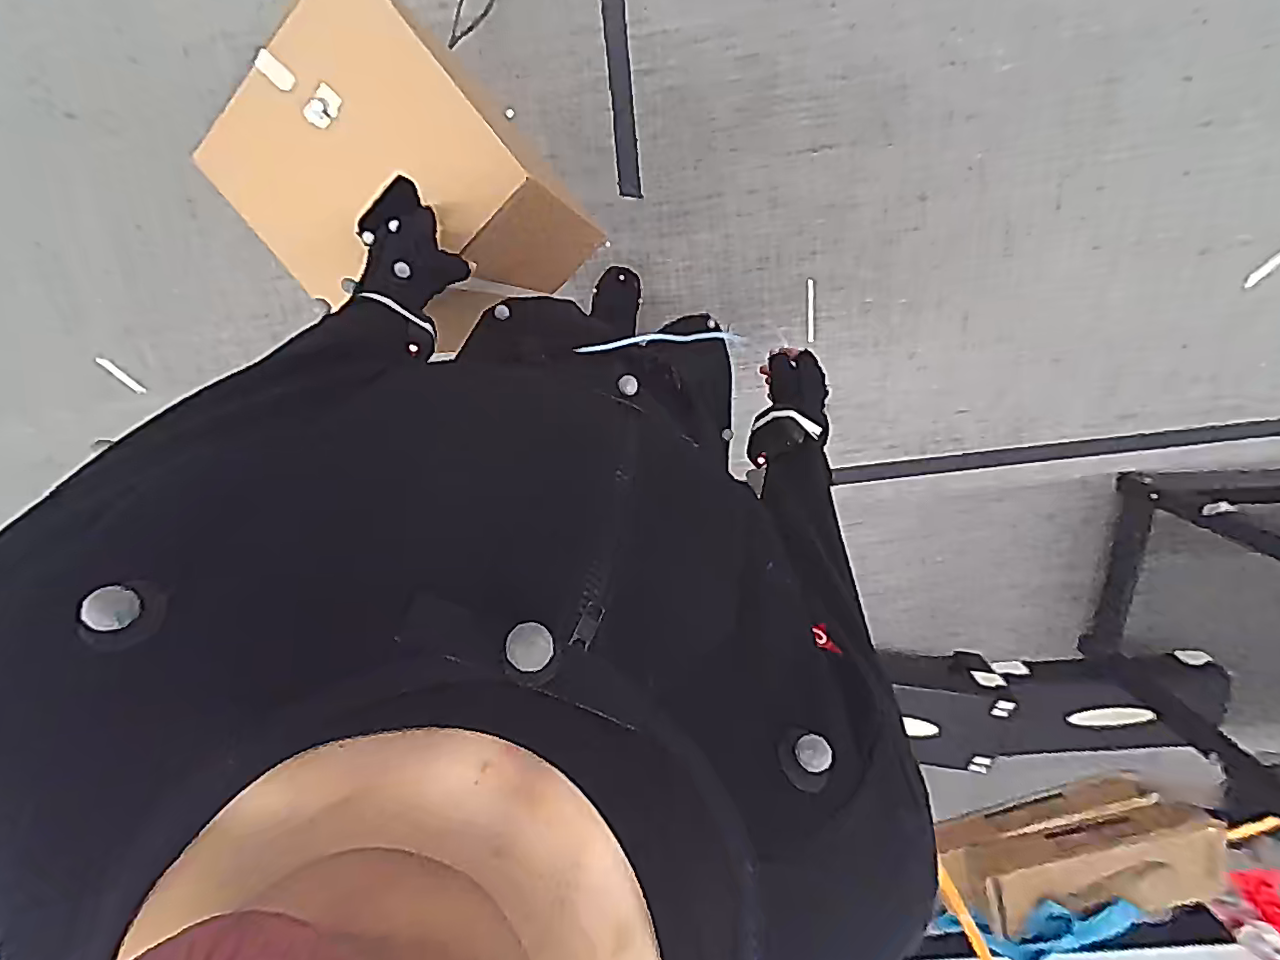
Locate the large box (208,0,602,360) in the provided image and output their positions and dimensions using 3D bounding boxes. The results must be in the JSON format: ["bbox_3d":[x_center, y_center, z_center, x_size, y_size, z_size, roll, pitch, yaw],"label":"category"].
[{"bbox_3d":[-0.314,-0.415,0.835,0.320,0.408,0.320,-38,96,18],"label":"large box"}]
